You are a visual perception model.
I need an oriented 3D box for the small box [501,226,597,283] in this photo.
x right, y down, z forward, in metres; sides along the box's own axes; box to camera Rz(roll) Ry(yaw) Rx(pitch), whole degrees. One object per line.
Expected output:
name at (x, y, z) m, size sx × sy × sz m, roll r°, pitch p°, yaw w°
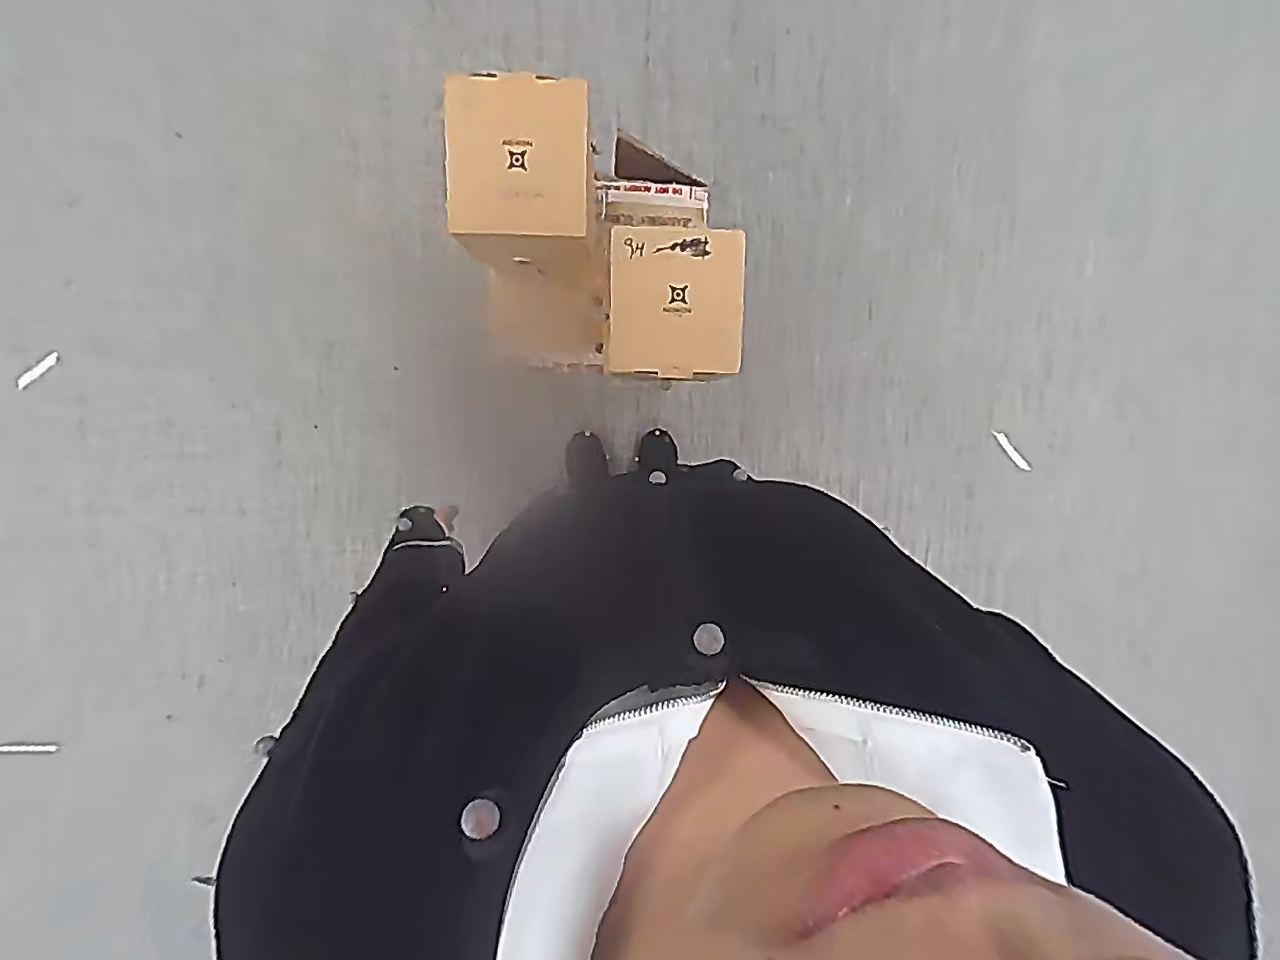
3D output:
small box at (-0.156, -0.430, 0.868) m, size 0.168 × 0.176 × 0.179 m, roll 1°, pitch 98°, yaw -2°

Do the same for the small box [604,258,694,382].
small box at (0.023, -0.257, 0.902) m, size 0.168 × 0.176 × 0.179 m, roll 0°, pitch 99°, yaw -4°

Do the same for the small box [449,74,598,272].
small box at (-0.143, -0.387, 0.710) m, size 0.168 × 0.176 × 0.179 m, roll 1°, pitch 99°, yaw -2°

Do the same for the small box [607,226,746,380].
small box at (0.040, -0.229, 0.741) m, size 0.168 × 0.176 × 0.179 m, roll 0°, pitch 99°, yaw -4°
